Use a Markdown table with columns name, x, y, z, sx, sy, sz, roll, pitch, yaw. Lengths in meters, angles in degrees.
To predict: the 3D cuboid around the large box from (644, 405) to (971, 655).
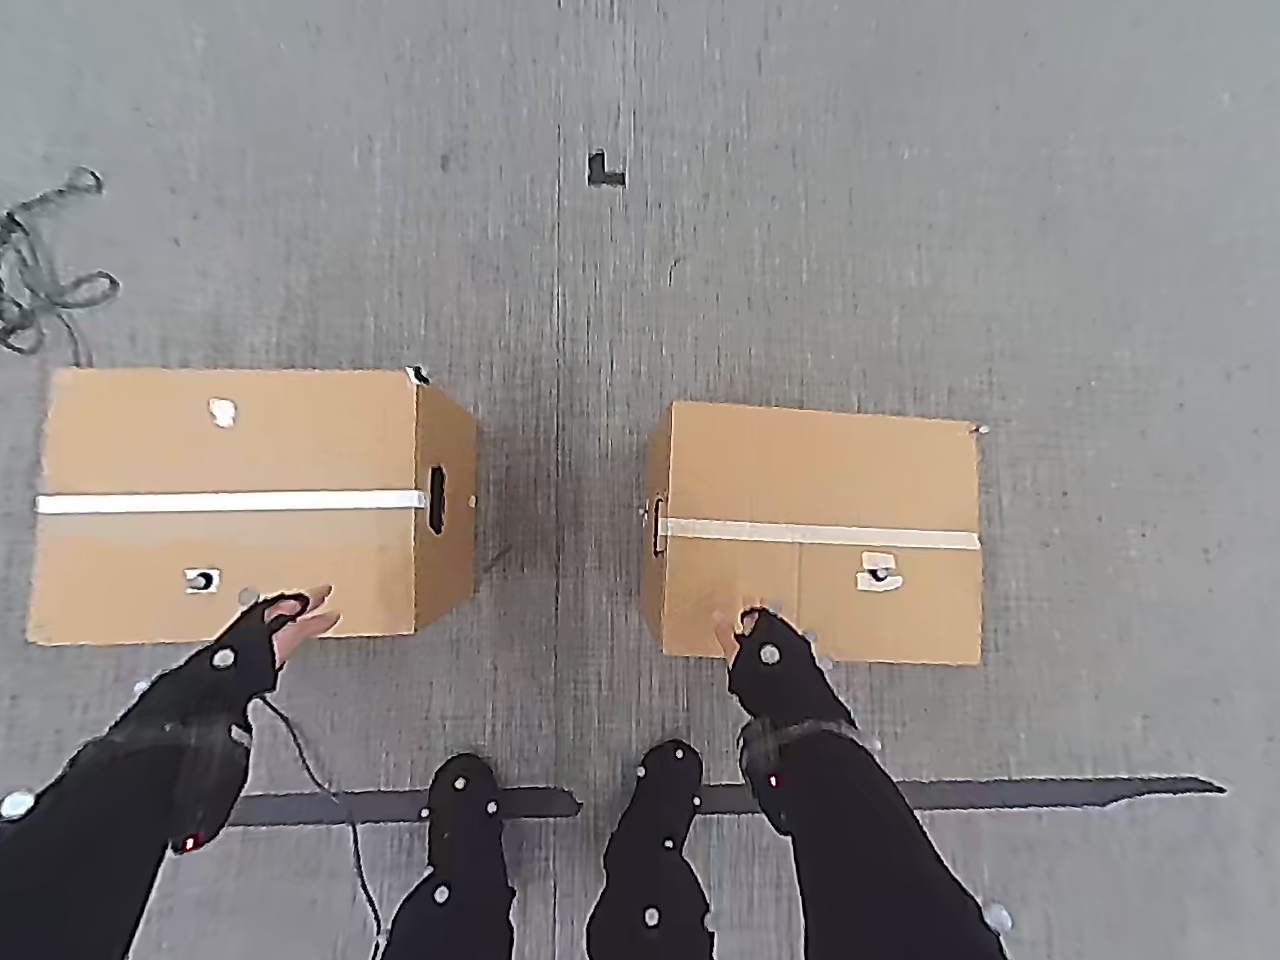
| name | x | y | z | sx | sy | sz | roll | pitch | yaw |
| --- | --- | --- | --- | --- | --- | --- | --- | --- | --- |
| large box | 0.221 | 0.081 | 0.842 | 0.408 | 0.320 | 0.320 | 3 | 84 | -5 |
